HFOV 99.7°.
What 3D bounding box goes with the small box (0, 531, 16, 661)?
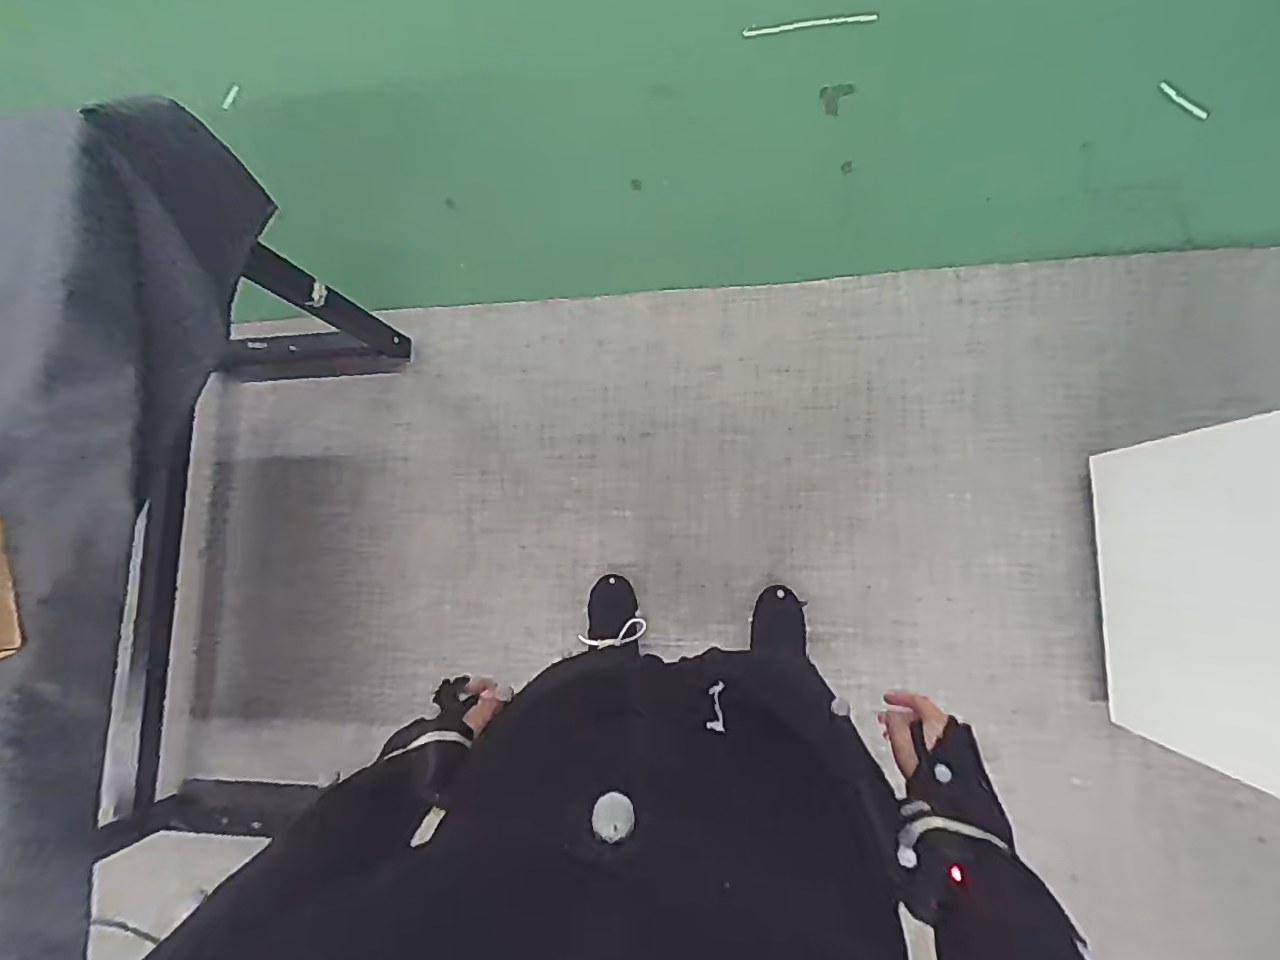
[{"bbox_3d":[-0.791,0.140,0.529,0.179,0.176,0.168,-24,80,5],"label":"small box"}]
